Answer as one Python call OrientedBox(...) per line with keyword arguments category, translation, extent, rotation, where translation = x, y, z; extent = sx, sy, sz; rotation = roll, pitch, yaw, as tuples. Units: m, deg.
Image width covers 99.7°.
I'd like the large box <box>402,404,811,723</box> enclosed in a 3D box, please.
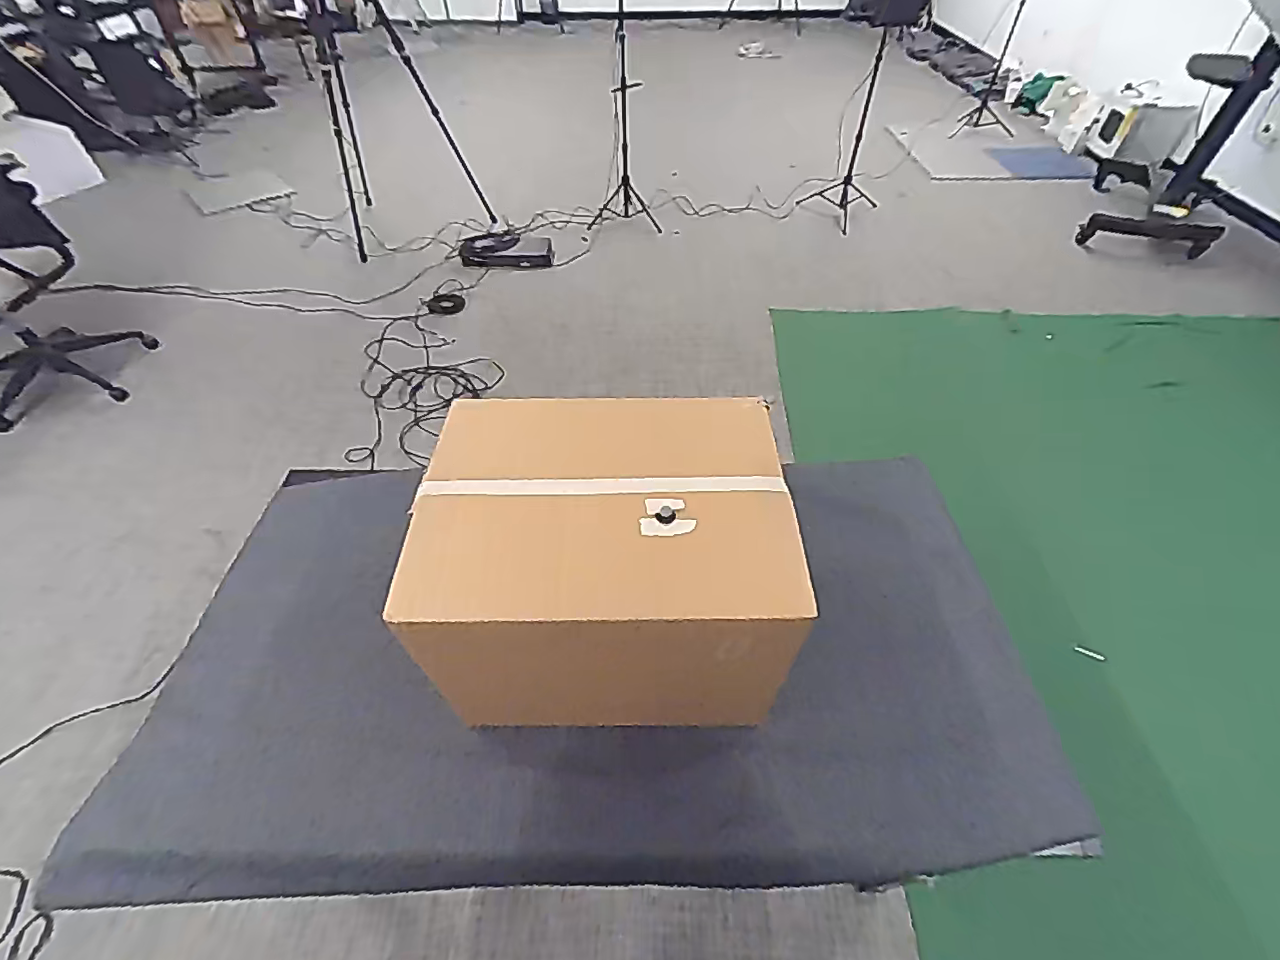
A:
OrientedBox(category="large box", translation=(-0.036, 0.115, 0.726), extent=(0.408, 0.320, 0.320), rotation=(0, 50, -1))
